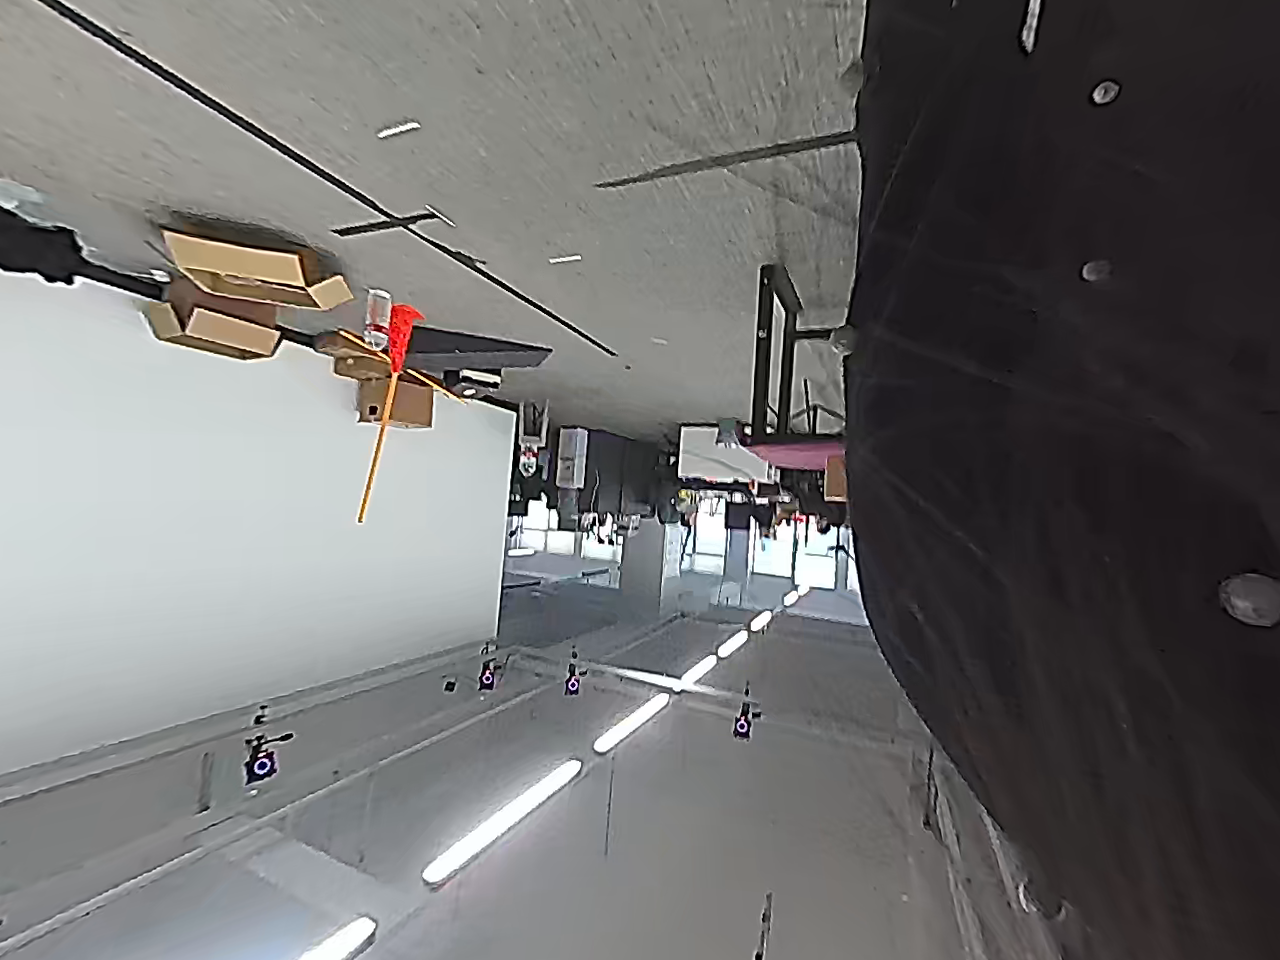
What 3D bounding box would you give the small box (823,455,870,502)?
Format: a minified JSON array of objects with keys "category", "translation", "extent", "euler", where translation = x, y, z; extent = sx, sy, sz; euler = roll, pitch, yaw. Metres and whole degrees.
[{"category":"small box","translation":[0.834,-0.004,2.189],"extent":[0.168,0.176,0.179],"euler":[3,177,18]}]
